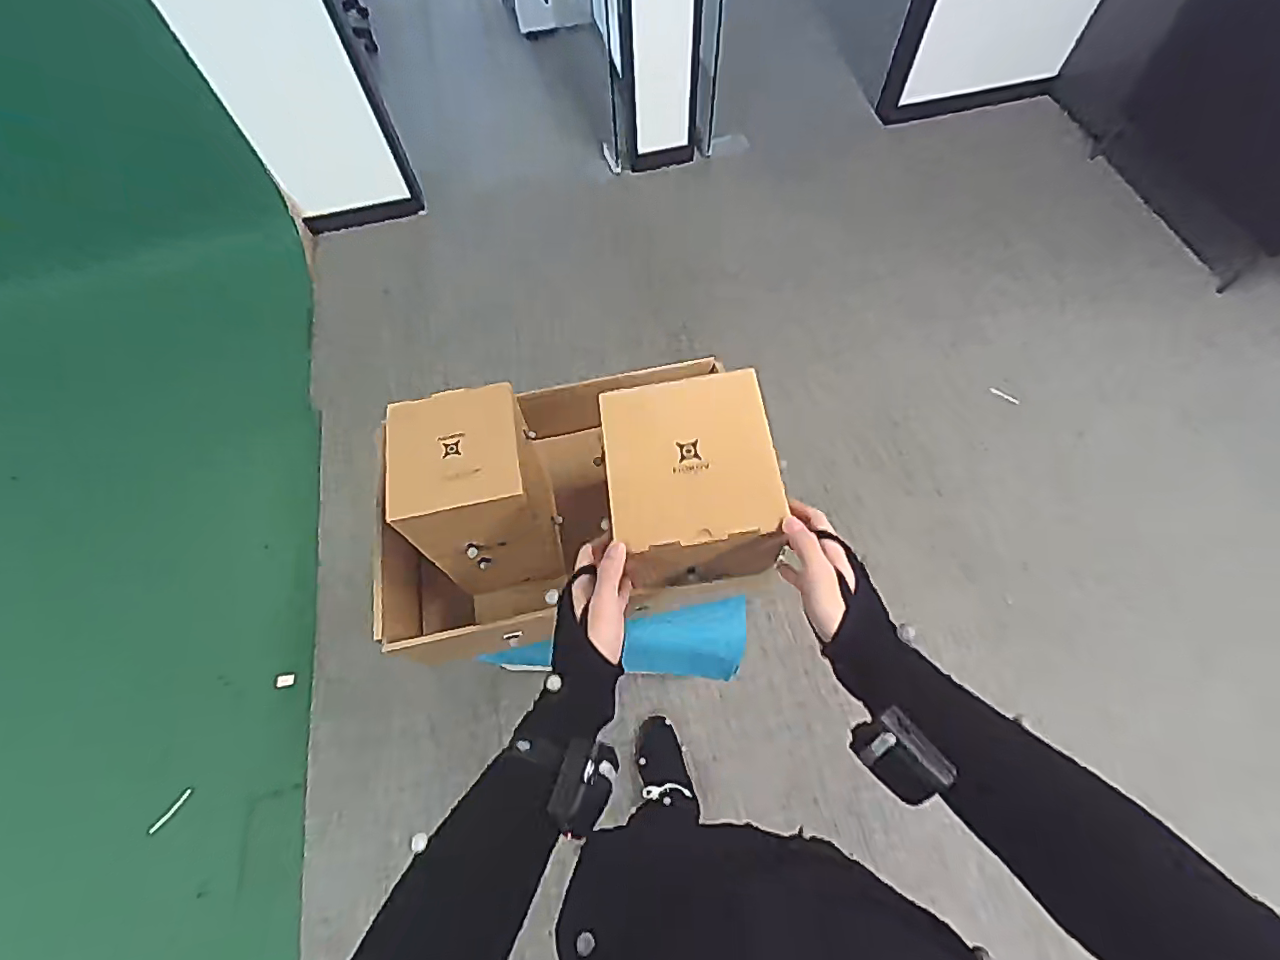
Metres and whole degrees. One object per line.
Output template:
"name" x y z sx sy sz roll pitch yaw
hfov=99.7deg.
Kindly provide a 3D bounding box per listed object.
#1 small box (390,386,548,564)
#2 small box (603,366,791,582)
"small box" -0.231 -0.003 0.757 0.168 0.176 0.179 -11 63 -4
"small box" 0.056 0.002 0.602 0.168 0.176 0.179 -9 67 3
